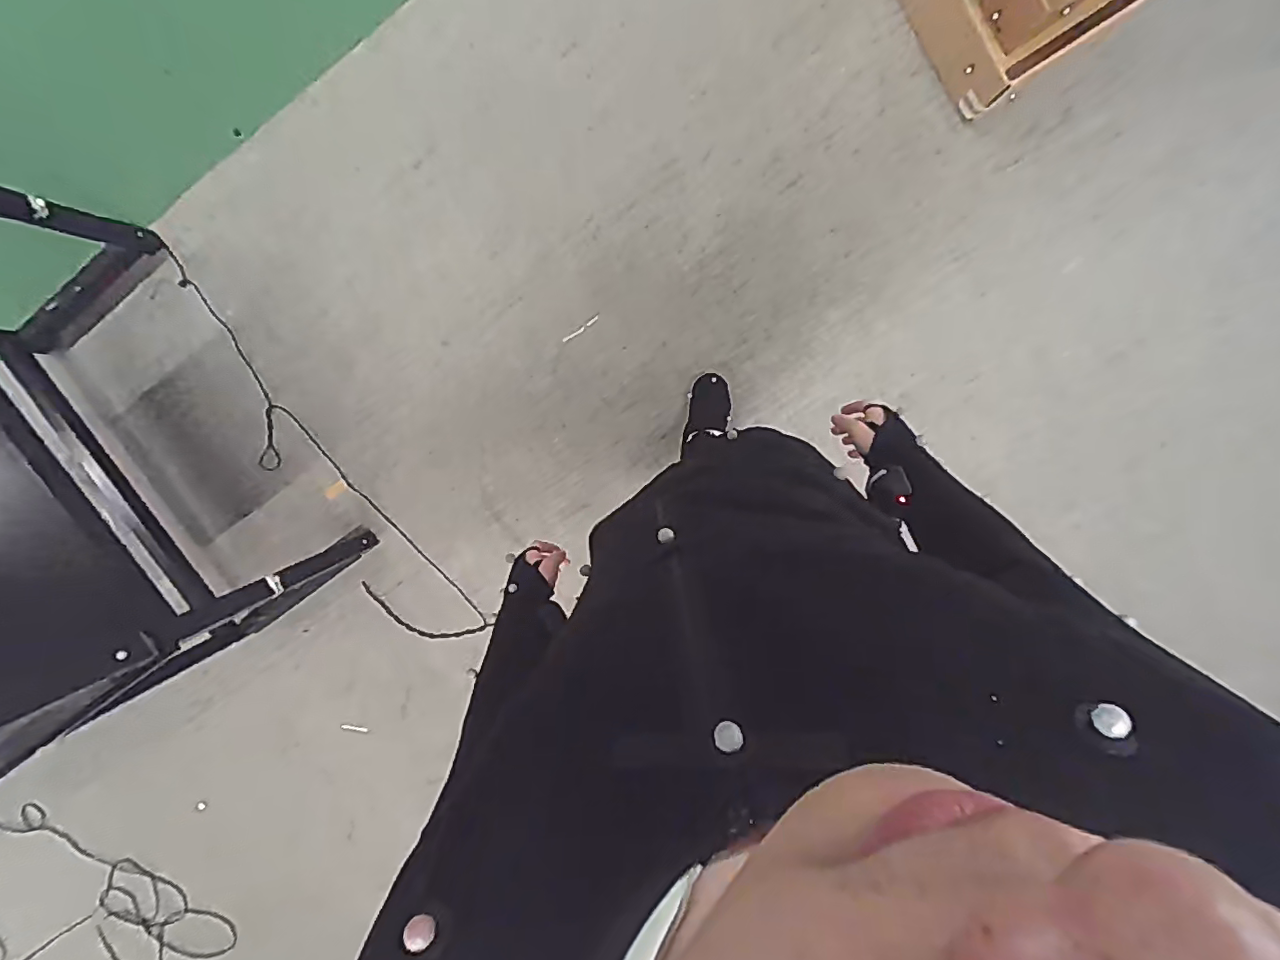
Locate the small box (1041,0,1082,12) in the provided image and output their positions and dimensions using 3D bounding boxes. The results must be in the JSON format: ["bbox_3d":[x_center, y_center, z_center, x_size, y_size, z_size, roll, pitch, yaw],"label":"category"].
[{"bbox_3d":[0.910,-1.091,1.071,0.168,0.176,0.179,-28,95,10],"label":"small box"}]
